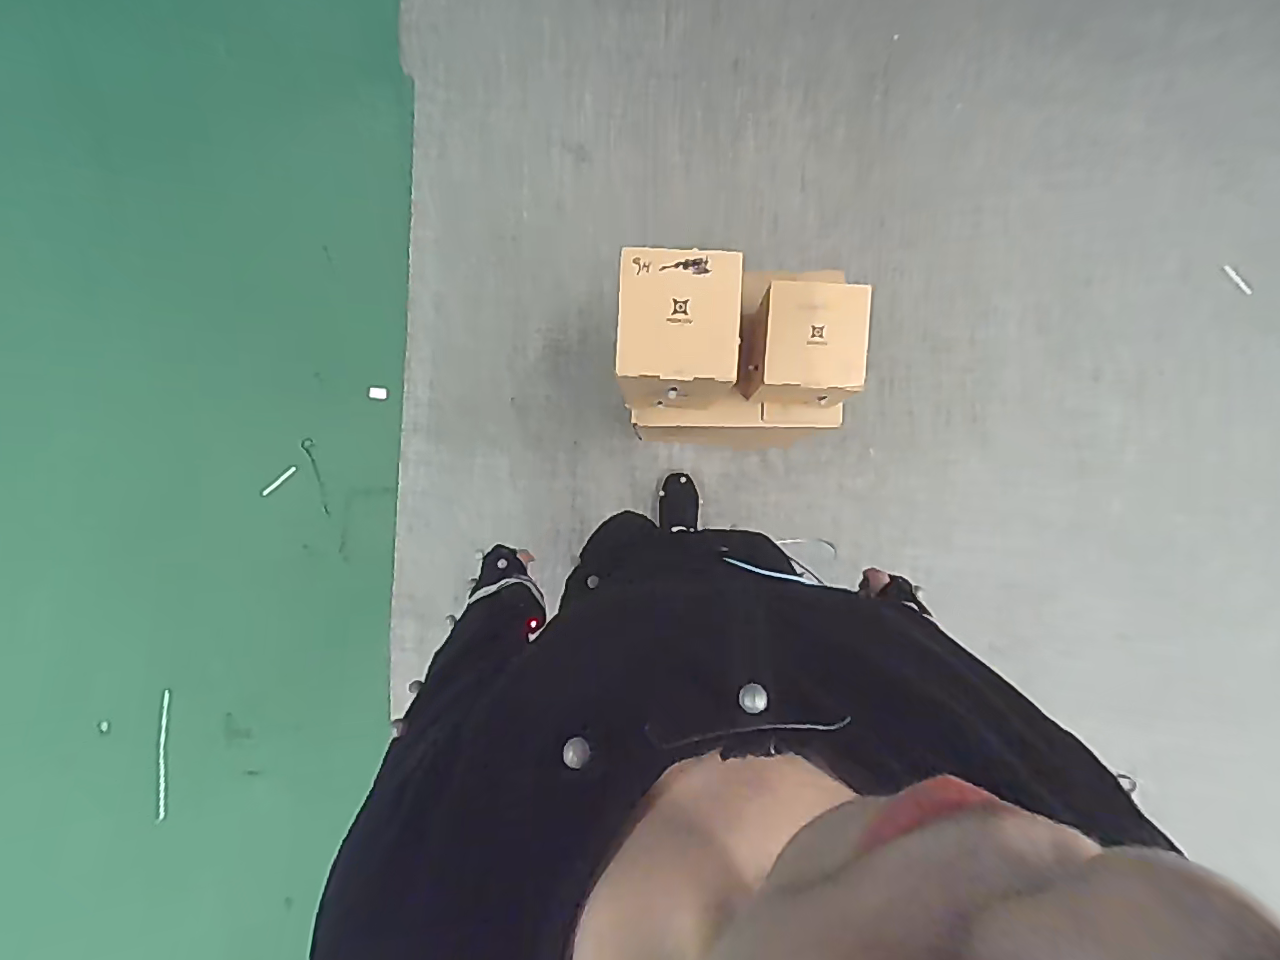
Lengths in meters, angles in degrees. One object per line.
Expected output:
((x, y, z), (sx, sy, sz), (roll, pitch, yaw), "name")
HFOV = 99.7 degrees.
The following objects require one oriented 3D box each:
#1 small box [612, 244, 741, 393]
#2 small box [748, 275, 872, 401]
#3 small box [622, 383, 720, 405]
((0.050, -0.227, 0.802), (0.168, 0.176, 0.179), (3, 92, 0), "small box")
((0.290, -0.240, 0.958), (0.168, 0.176, 0.179), (6, 90, 3), "small box")
((0.054, -0.235, 0.966), (0.168, 0.176, 0.179), (2, 92, 0), "small box")
